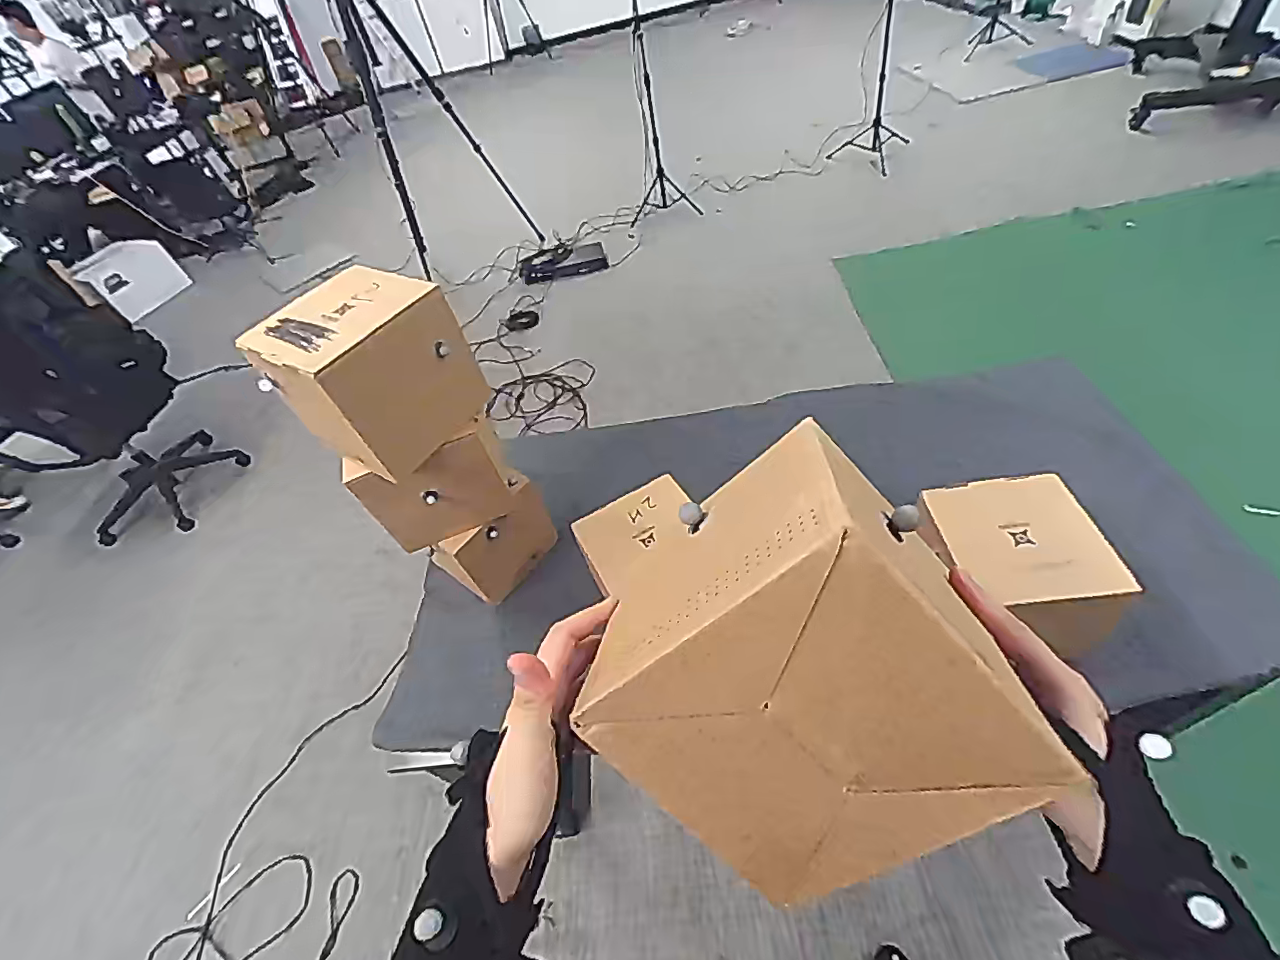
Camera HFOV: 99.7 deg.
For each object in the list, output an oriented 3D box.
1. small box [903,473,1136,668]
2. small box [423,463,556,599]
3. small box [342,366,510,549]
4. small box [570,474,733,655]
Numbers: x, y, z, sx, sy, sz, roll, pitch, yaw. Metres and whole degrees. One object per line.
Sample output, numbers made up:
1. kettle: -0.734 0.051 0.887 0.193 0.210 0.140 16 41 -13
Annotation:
1. small box: 0.457 0.118 0.693 0.168 0.176 0.179 -9 47 8
2. small box: -0.274 0.073 0.918 0.179 0.176 0.168 25 60 30
3. small box: -0.304 -0.030 0.792 0.179 0.176 0.168 -23 49 -6
4. small box: 0.023 0.131 0.791 0.168 0.176 0.179 -27 48 -11
